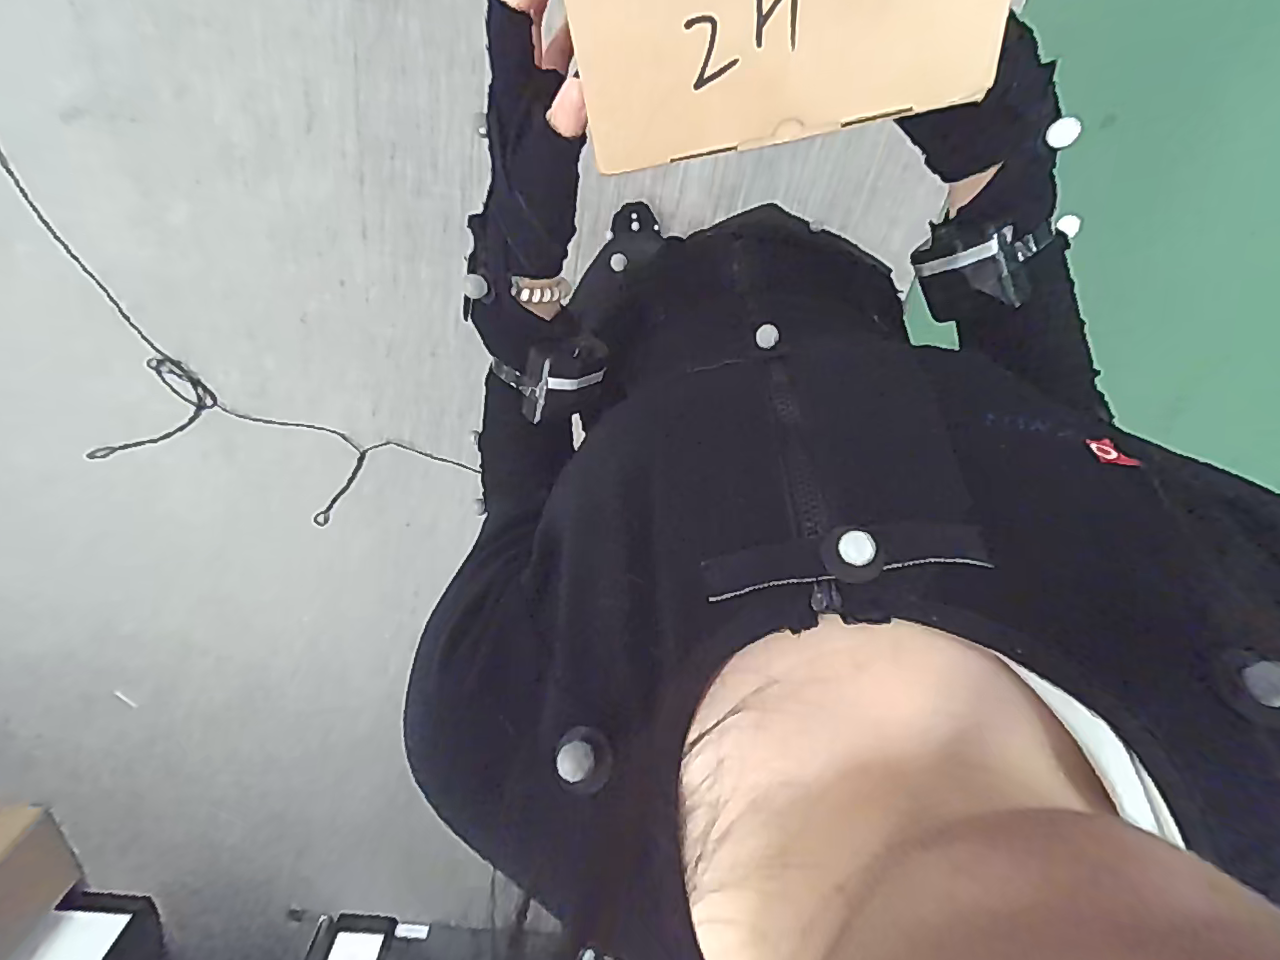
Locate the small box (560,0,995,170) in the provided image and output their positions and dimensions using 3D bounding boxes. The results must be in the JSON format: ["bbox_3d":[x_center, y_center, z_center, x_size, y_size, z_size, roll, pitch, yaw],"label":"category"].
[{"bbox_3d":[0.041,-0.263,0.238,0.168,0.176,0.179,-9,130,5],"label":"small box"}]
